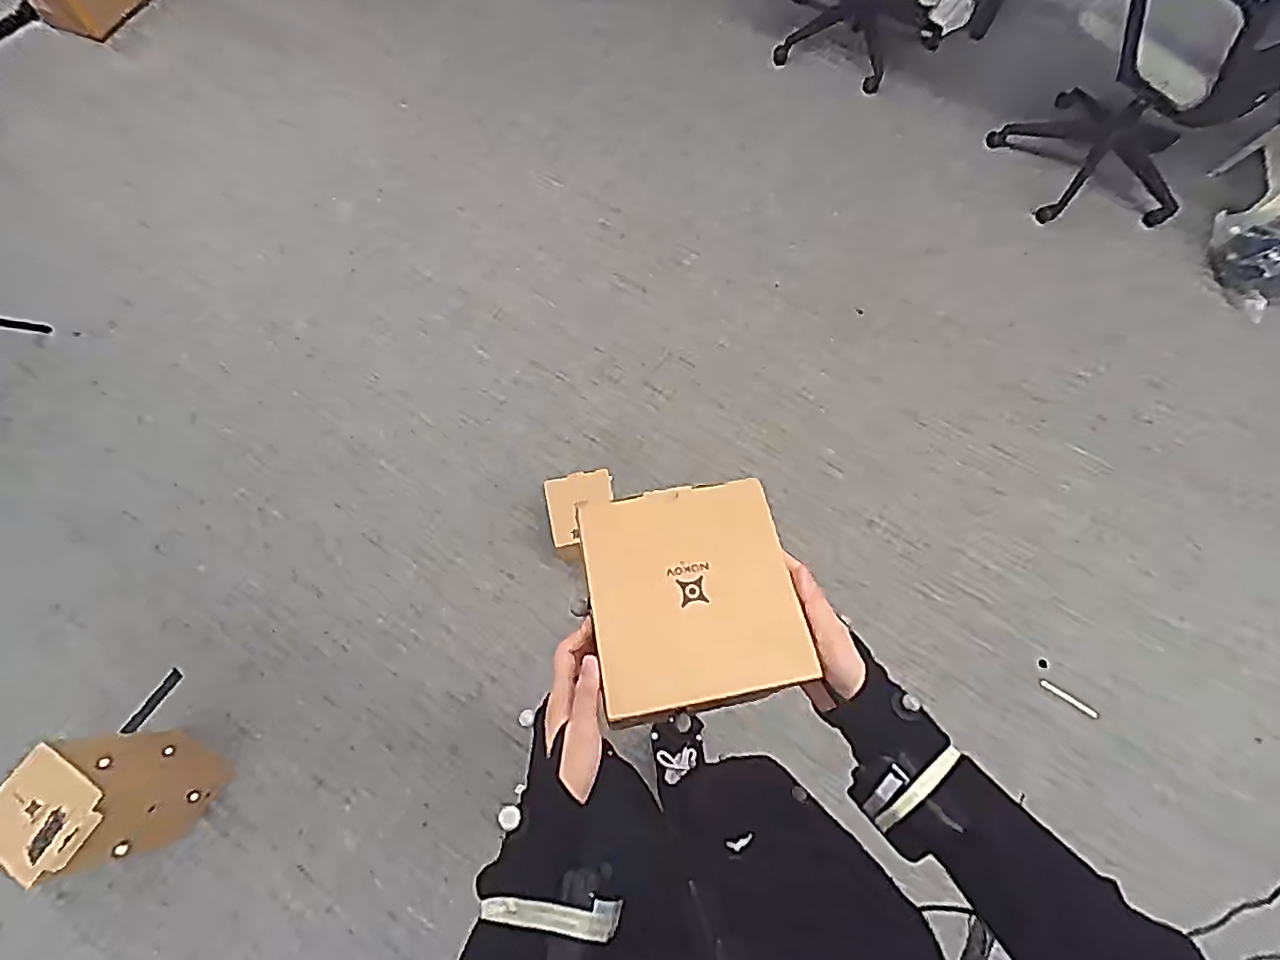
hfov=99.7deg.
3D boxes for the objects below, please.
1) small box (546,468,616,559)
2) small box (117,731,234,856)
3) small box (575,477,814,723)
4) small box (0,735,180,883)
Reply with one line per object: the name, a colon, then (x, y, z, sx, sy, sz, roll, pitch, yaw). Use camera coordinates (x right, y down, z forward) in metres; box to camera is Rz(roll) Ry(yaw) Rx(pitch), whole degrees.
small box: (-0.140, 0.091, 1.397, 0.168, 0.176, 0.179, -12, 70, -5)
small box: (-1.055, 0.669, 1.183, 0.179, 0.176, 0.168, 27, 71, 10)
small box: (0.037, 0.122, 0.508, 0.168, 0.176, 0.179, -9, 62, -7)
small box: (-1.051, 0.608, 1.030, 0.179, 0.176, 0.168, 28, 72, 10)
